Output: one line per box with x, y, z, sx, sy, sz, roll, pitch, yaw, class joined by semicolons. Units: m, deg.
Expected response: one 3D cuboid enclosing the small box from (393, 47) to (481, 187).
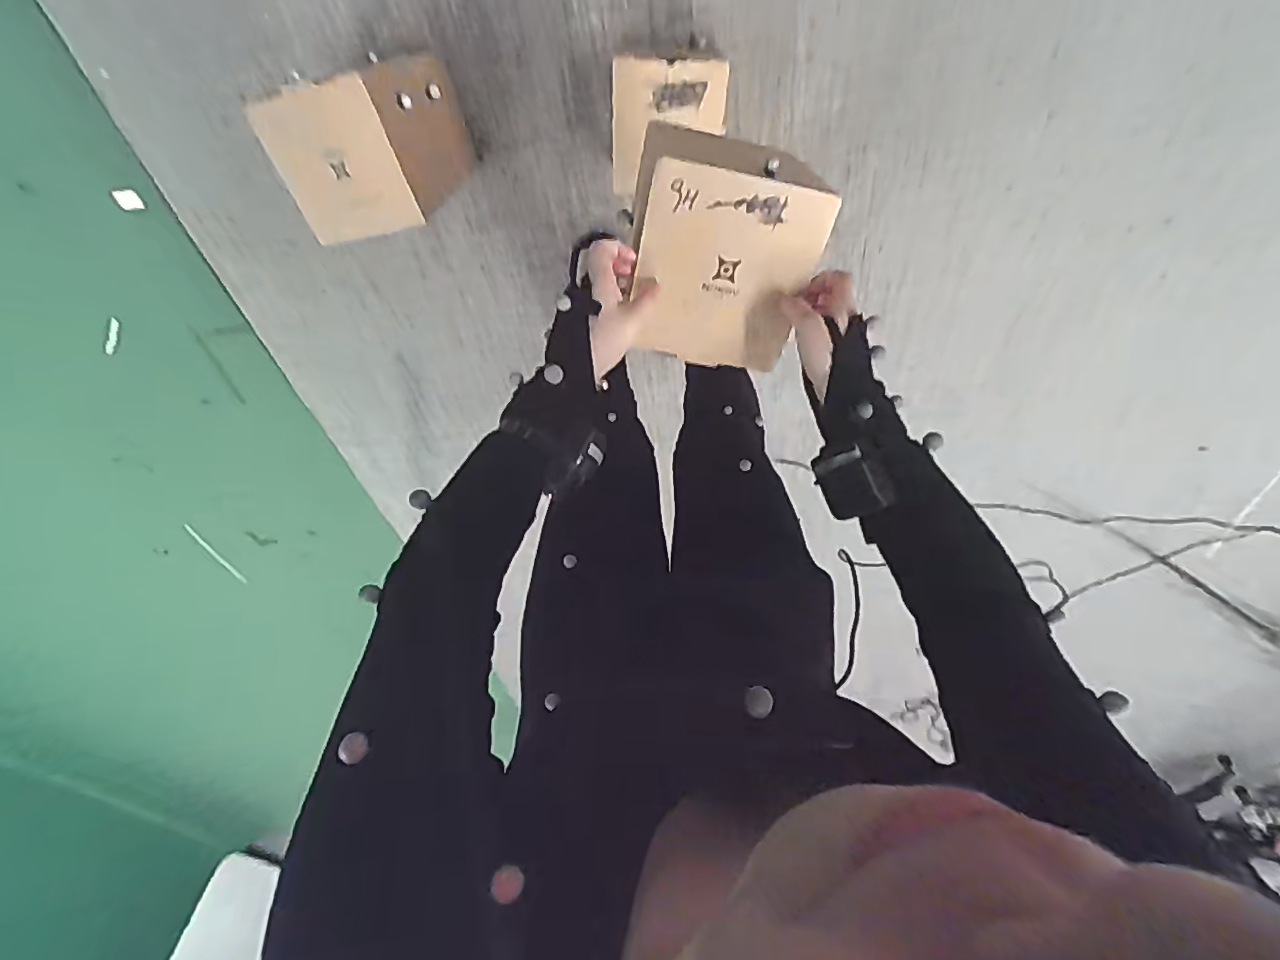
-0.380;-0.572;0.872;0.168;0.176;0.179;-9;132;9;small box

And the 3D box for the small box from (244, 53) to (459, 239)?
-0.378;-0.465;0.749;0.168;0.176;0.179;-7;133;10;small box

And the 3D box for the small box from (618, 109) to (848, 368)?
0.075;-0.243;0.546;0.168;0.176;0.179;8;132;-9;small box

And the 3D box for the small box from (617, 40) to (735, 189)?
0.048;-0.577;0.854;0.168;0.176;0.179;2;134;0;small box
